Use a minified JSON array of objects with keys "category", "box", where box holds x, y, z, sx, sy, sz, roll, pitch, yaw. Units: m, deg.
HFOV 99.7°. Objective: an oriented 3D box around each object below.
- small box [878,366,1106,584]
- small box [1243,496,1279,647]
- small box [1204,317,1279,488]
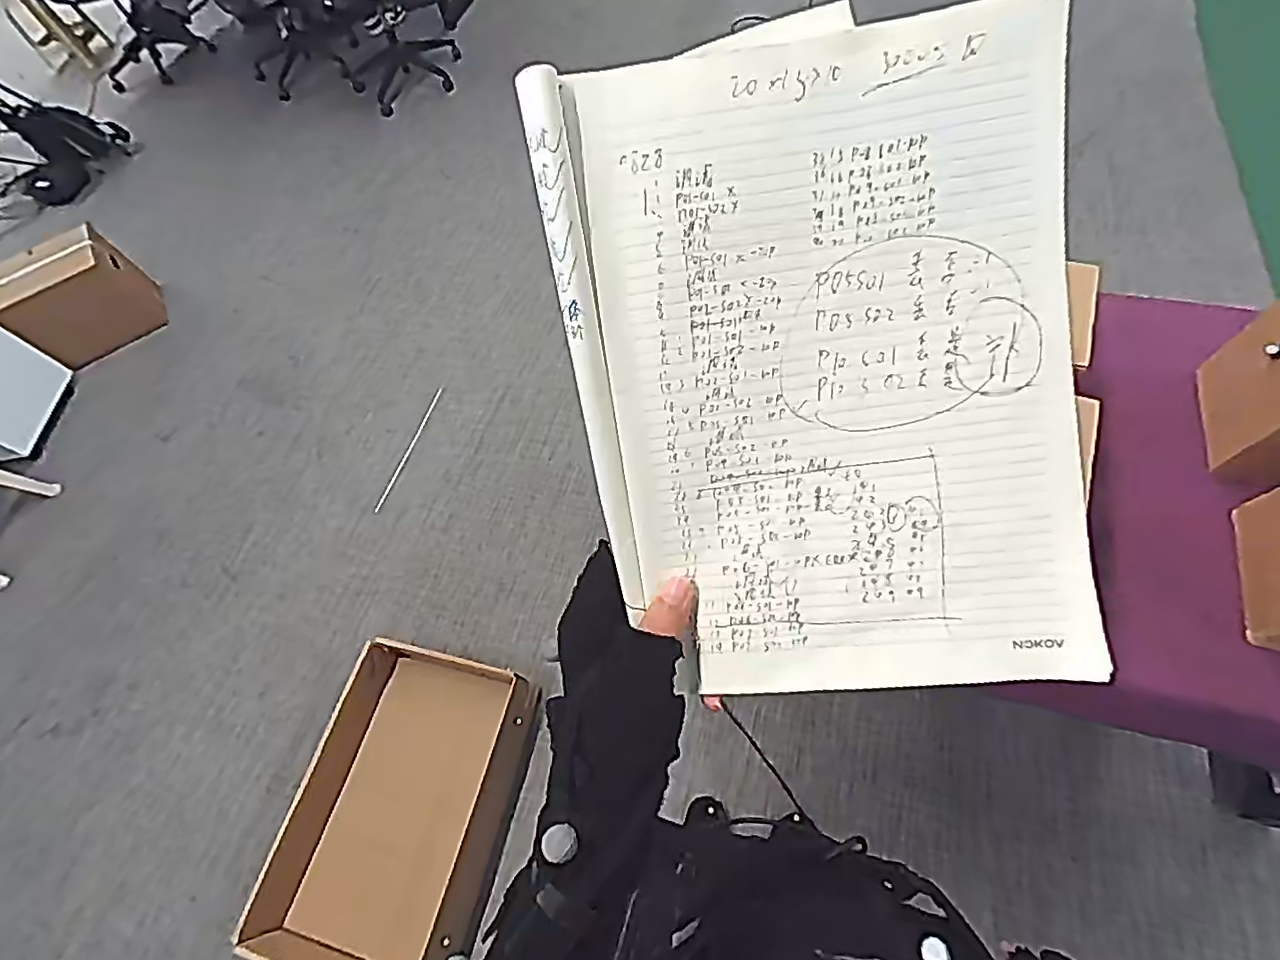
[{"category":"small box","box":[0.401,0.001,0.643,0.168,0.176,0.179,21,66,18]},{"category":"small box","box":[0.771,0.098,0.540,0.168,0.176,0.179,16,66,17]},{"category":"small box","box":[0.825,-0.098,0.635,0.168,0.176,0.179,14,66,15]}]
